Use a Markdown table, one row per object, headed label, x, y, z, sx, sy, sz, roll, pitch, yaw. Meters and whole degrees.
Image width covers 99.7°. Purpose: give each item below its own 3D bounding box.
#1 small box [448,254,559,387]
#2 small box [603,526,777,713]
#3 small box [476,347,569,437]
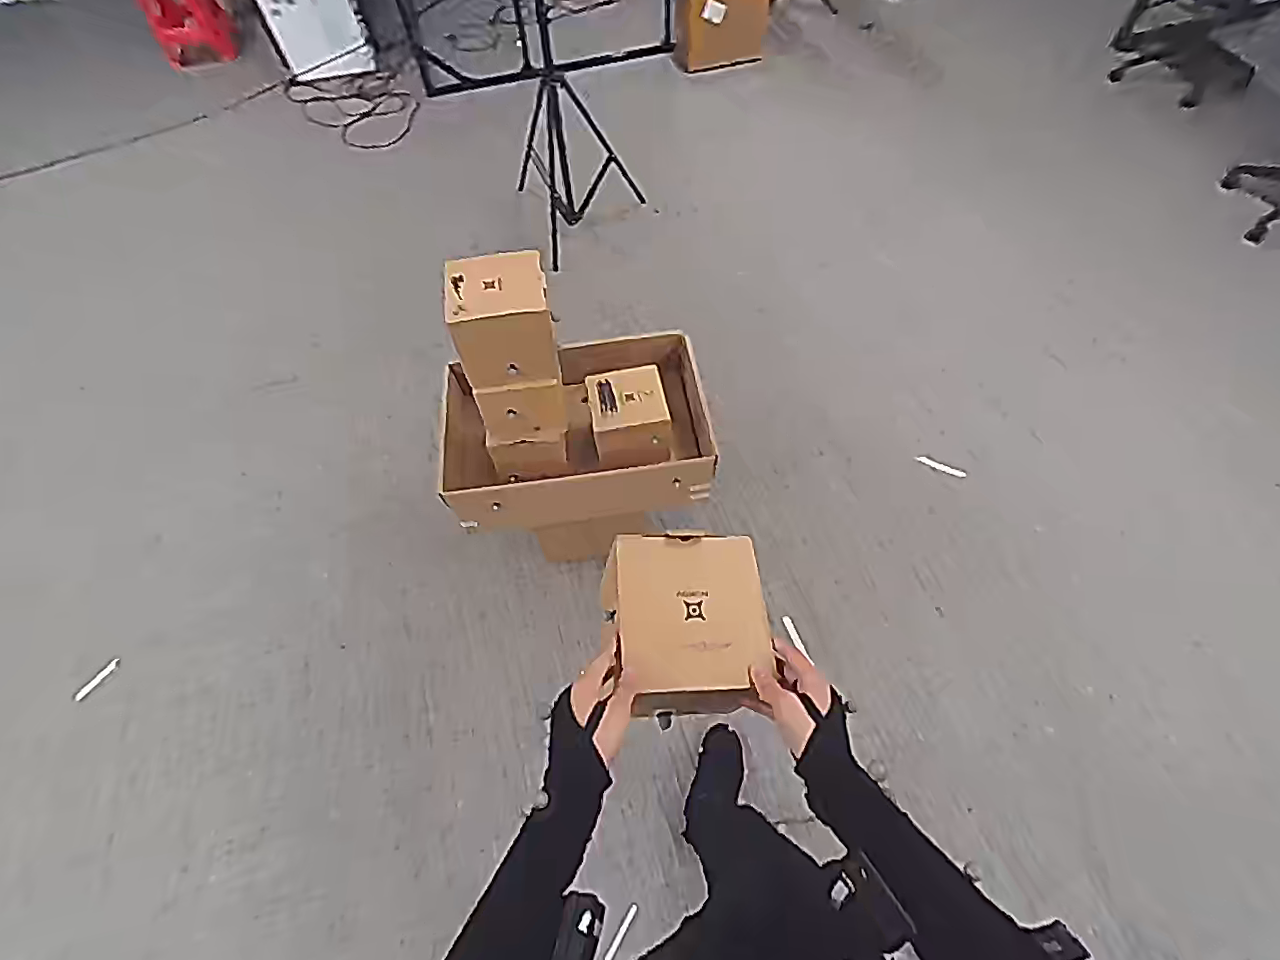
| label | x | y | z | sx | sy | sz | roll | pitch | yaw |
| --- | --- | --- | --- | --- | --- | --- | --- | --- | --- |
| small box | -0.251 | -0.298 | 1.025 | 0.179 | 0.176 | 0.168 | -8 | 59 | -5 |
| small box | 0.045 | 0.172 | 0.658 | 0.168 | 0.176 | 0.179 | 1 | 57 | -9 |
| small box | -0.249 | -0.206 | 1.160 | 0.168 | 0.176 | 0.179 | -8 | 59 | -4 |
